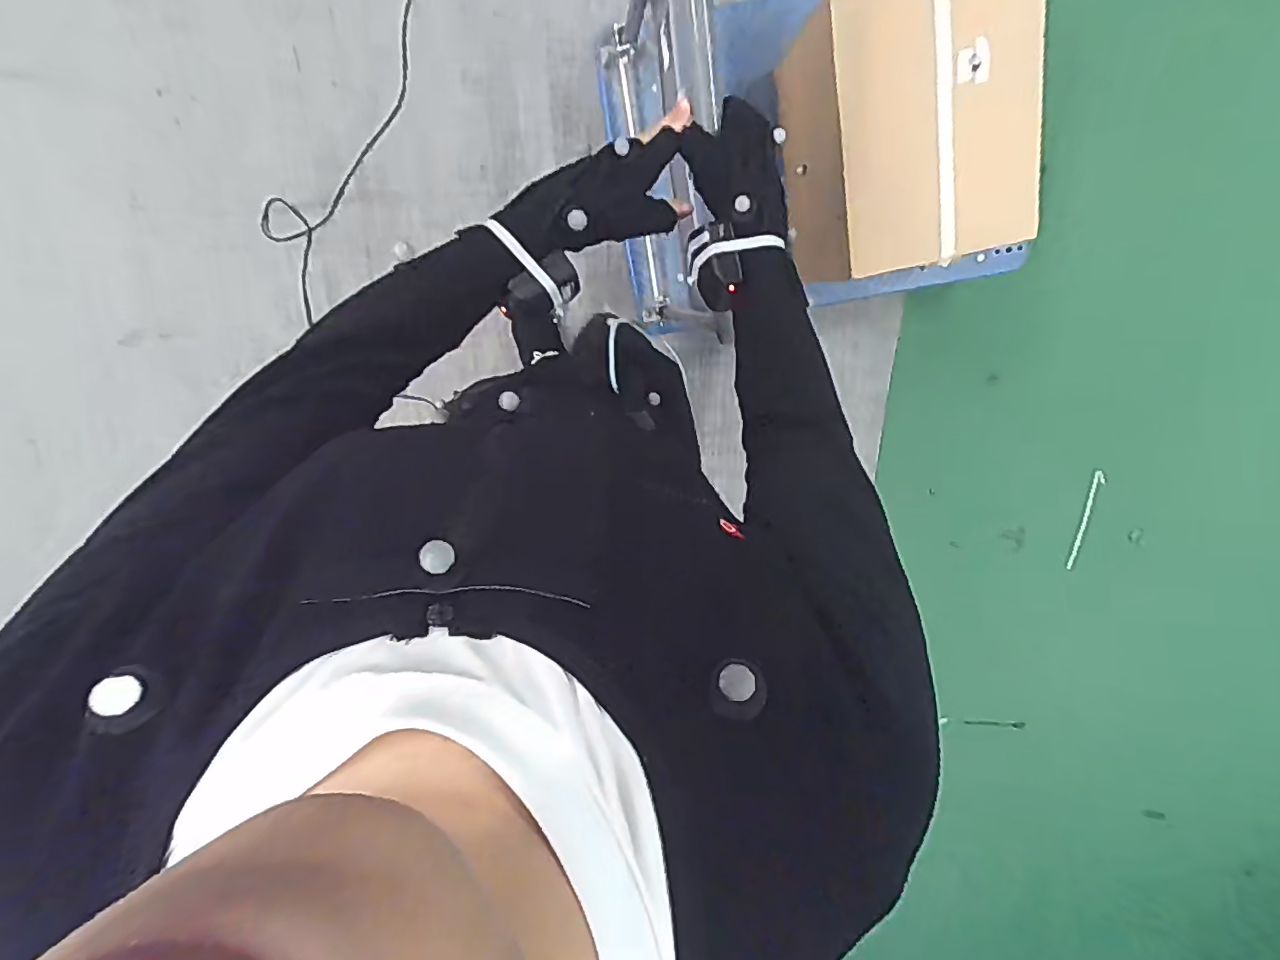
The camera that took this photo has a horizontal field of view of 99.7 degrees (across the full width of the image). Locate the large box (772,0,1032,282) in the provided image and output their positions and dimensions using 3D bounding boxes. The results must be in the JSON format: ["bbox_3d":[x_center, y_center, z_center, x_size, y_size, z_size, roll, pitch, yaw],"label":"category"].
[{"bbox_3d":[0.451,-0.603,0.982,0.320,0.320,0.408,-12,109,1],"label":"large box"}]
